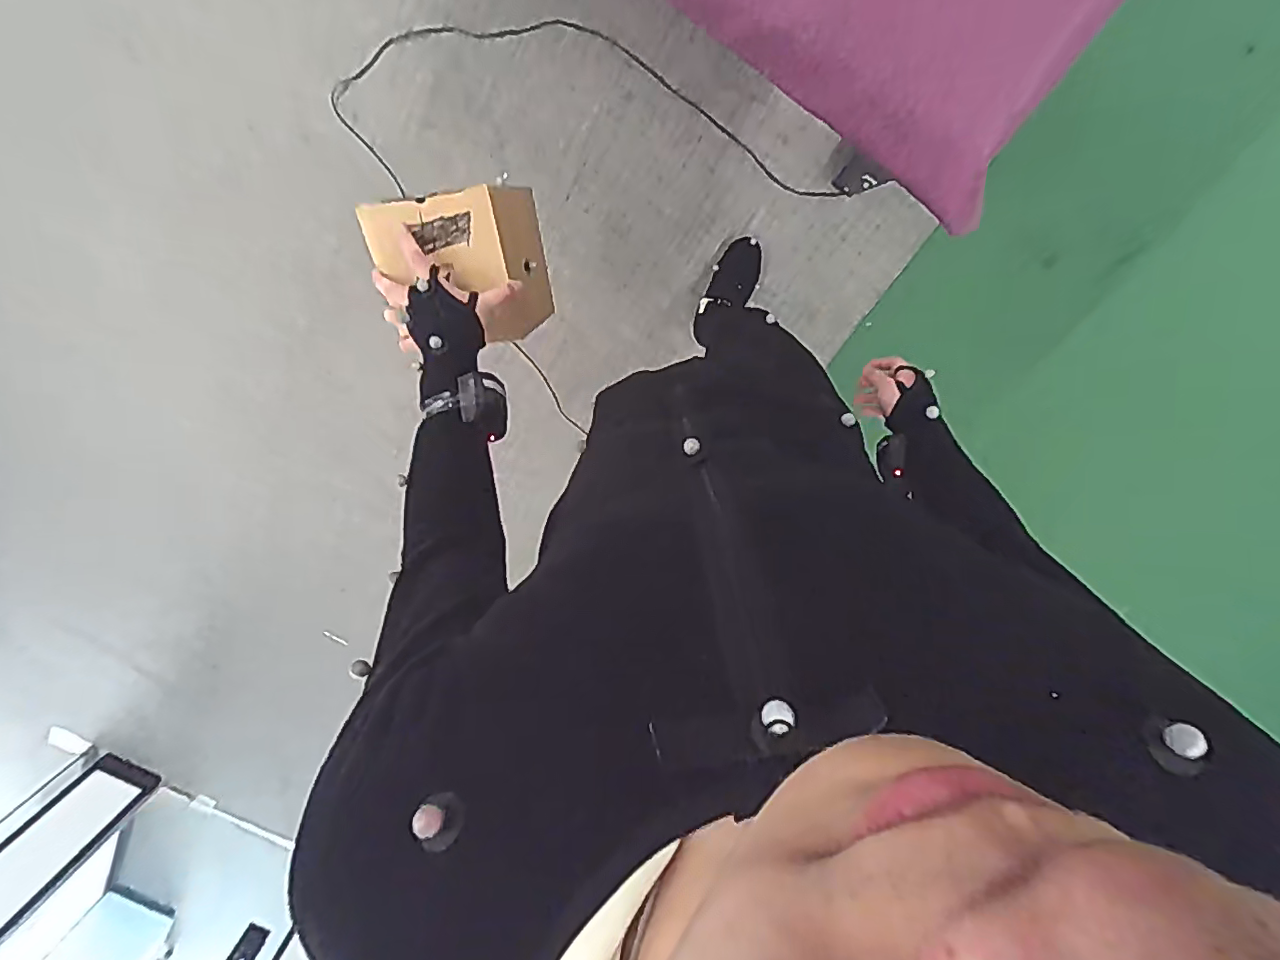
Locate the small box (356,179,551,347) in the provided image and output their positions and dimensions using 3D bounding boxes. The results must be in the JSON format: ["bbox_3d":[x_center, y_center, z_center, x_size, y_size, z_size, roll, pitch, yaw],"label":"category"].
[{"bbox_3d":[-0.228,-0.289,0.715,0.168,0.176,0.179,-2,119,9],"label":"small box"}]
